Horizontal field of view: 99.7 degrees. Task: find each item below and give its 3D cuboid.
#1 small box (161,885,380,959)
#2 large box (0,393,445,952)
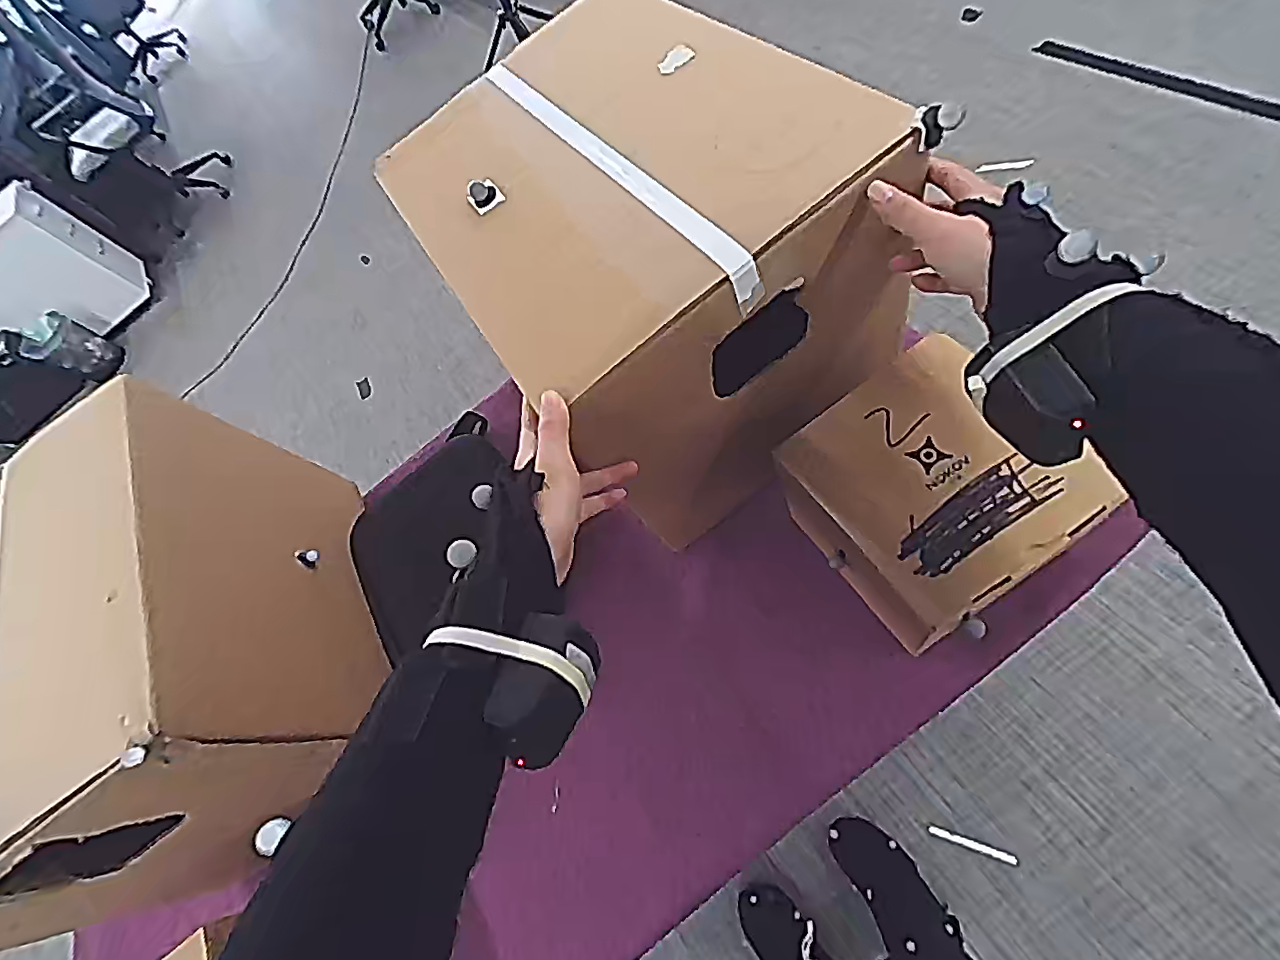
[{"bbox_3d":[-0.359,0.515,0.486,0.179,0.176,0.168,-40,58,0],"label":"small box"},{"bbox_3d":[-0.494,0.188,0.605,0.320,0.320,0.408,-38,62,2],"label":"large box"}]
